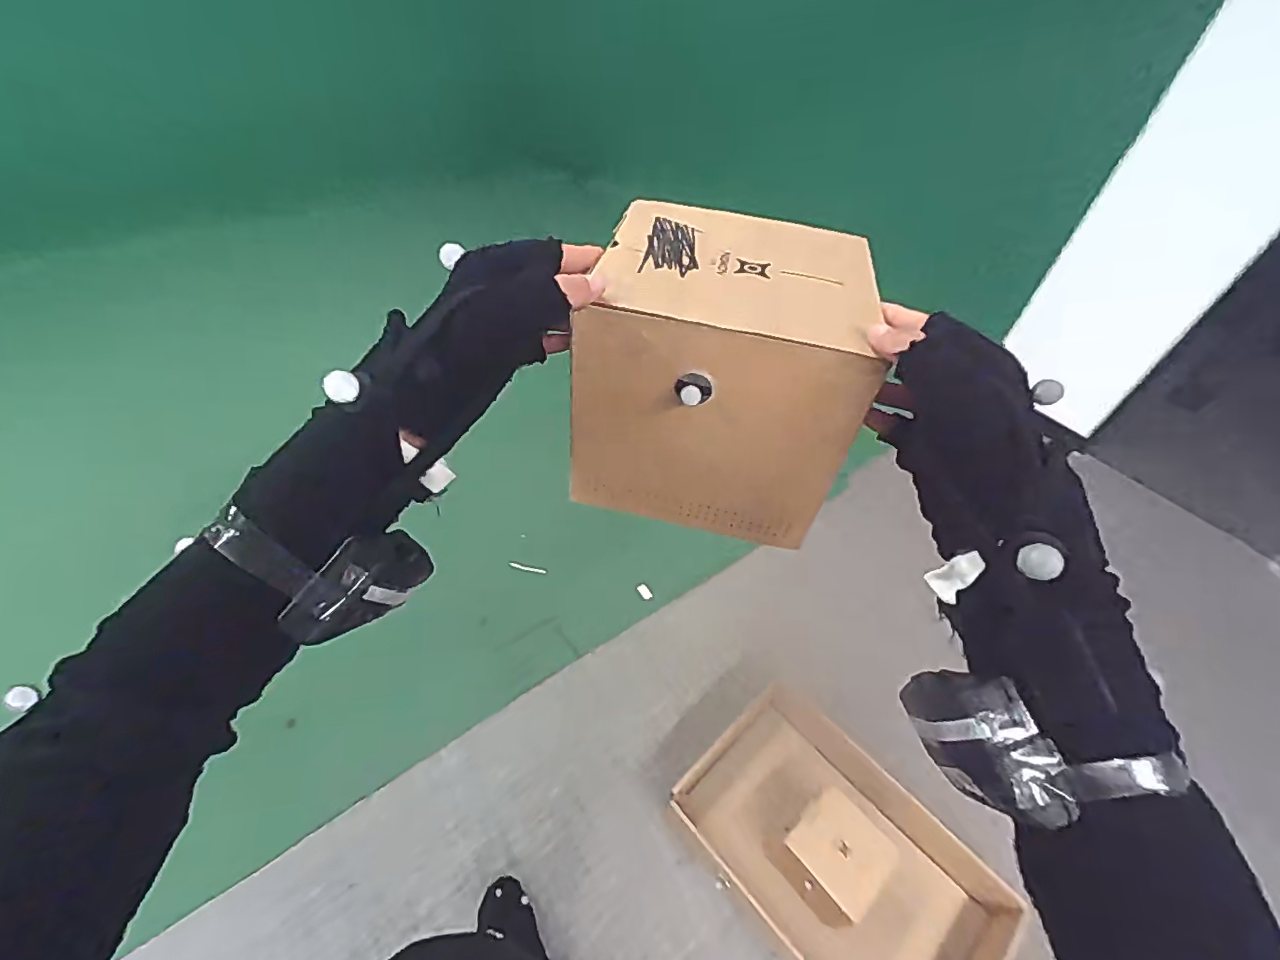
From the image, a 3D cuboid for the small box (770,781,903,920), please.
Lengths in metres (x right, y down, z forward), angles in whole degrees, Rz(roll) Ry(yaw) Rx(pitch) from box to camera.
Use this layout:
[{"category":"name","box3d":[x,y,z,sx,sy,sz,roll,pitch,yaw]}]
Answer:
[{"category":"small box","box3d":[0.401,0.780,1.134,0.168,0.176,0.179,-32,59,-28]}]

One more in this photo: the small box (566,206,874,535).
[{"category":"small box","box3d":[0.050,-0.080,0.408,0.179,0.176,0.168,12,46,4]}]
